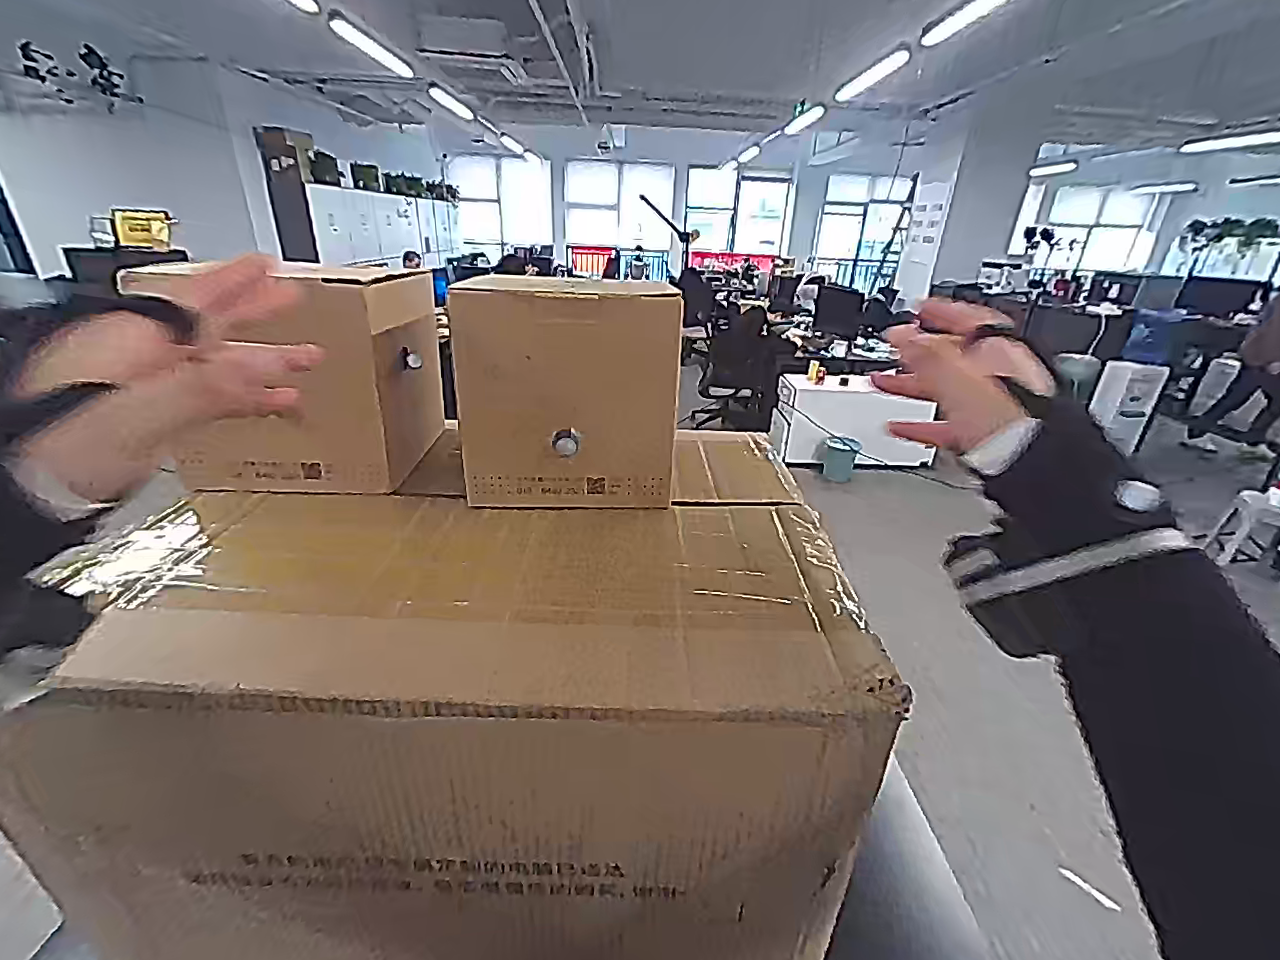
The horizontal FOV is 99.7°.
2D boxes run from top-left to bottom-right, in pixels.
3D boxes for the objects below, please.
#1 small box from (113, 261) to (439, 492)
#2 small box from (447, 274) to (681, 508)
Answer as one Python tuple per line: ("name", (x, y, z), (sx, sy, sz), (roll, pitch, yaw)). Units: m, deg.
("small box", (-0.286, -0.097, 0.480), (0.168, 0.176, 0.179), (1, 24, -6))
("small box", (-0.059, -0.087, 0.480), (0.168, 0.176, 0.179), (0, 23, -3))
